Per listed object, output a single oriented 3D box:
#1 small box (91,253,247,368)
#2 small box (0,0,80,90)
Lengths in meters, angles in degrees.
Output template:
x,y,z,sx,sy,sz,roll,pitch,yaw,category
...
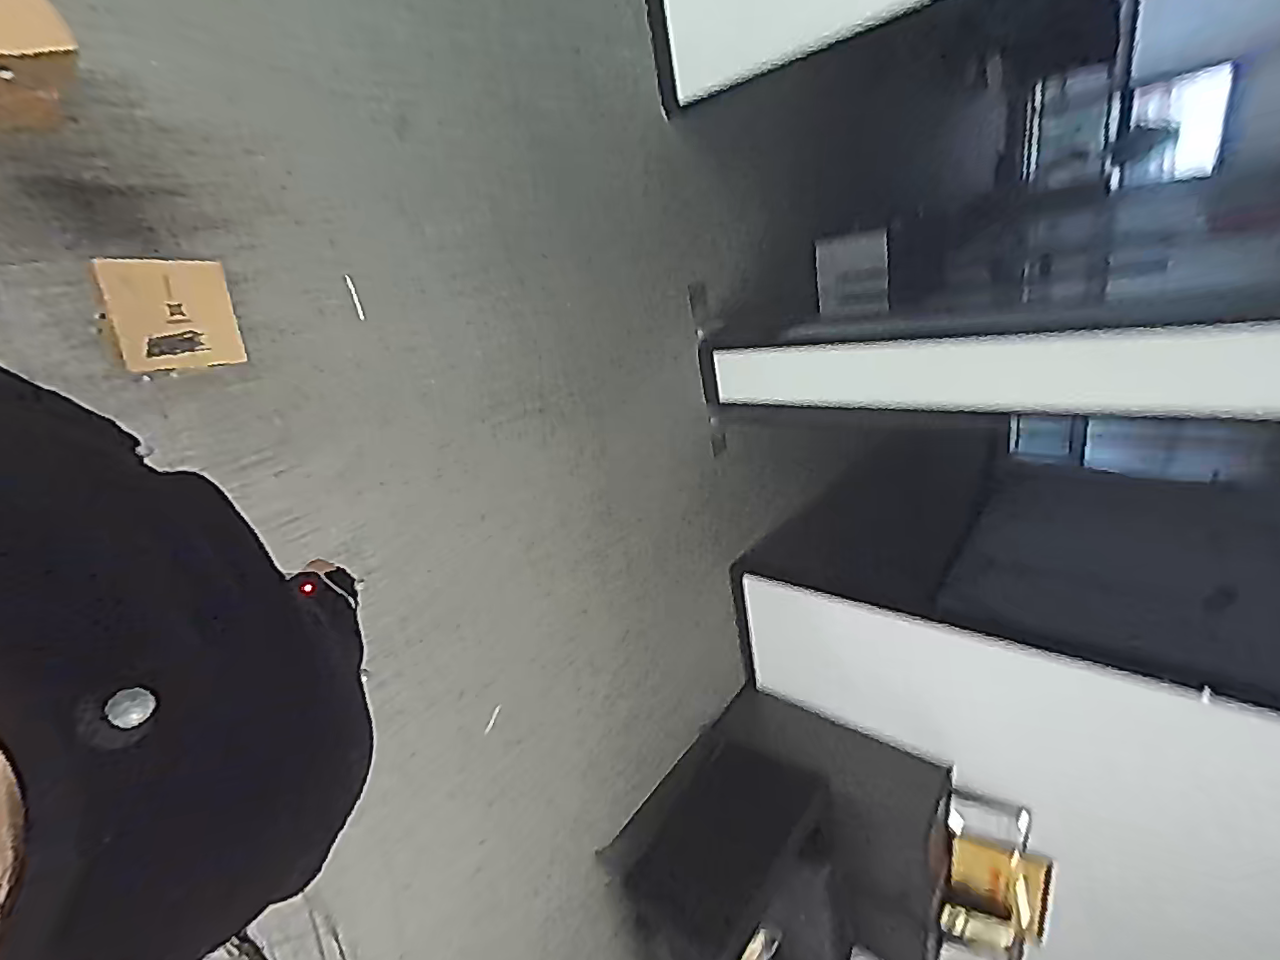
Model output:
x,y,z,sx,sy,sz,roll,pitch,yaw,category
-0.829,-0.293,0.954,0.168,0.176,0.179,-21,111,-44,small box
-0.947,-0.664,0.754,0.179,0.176,0.168,-42,127,-36,small box
